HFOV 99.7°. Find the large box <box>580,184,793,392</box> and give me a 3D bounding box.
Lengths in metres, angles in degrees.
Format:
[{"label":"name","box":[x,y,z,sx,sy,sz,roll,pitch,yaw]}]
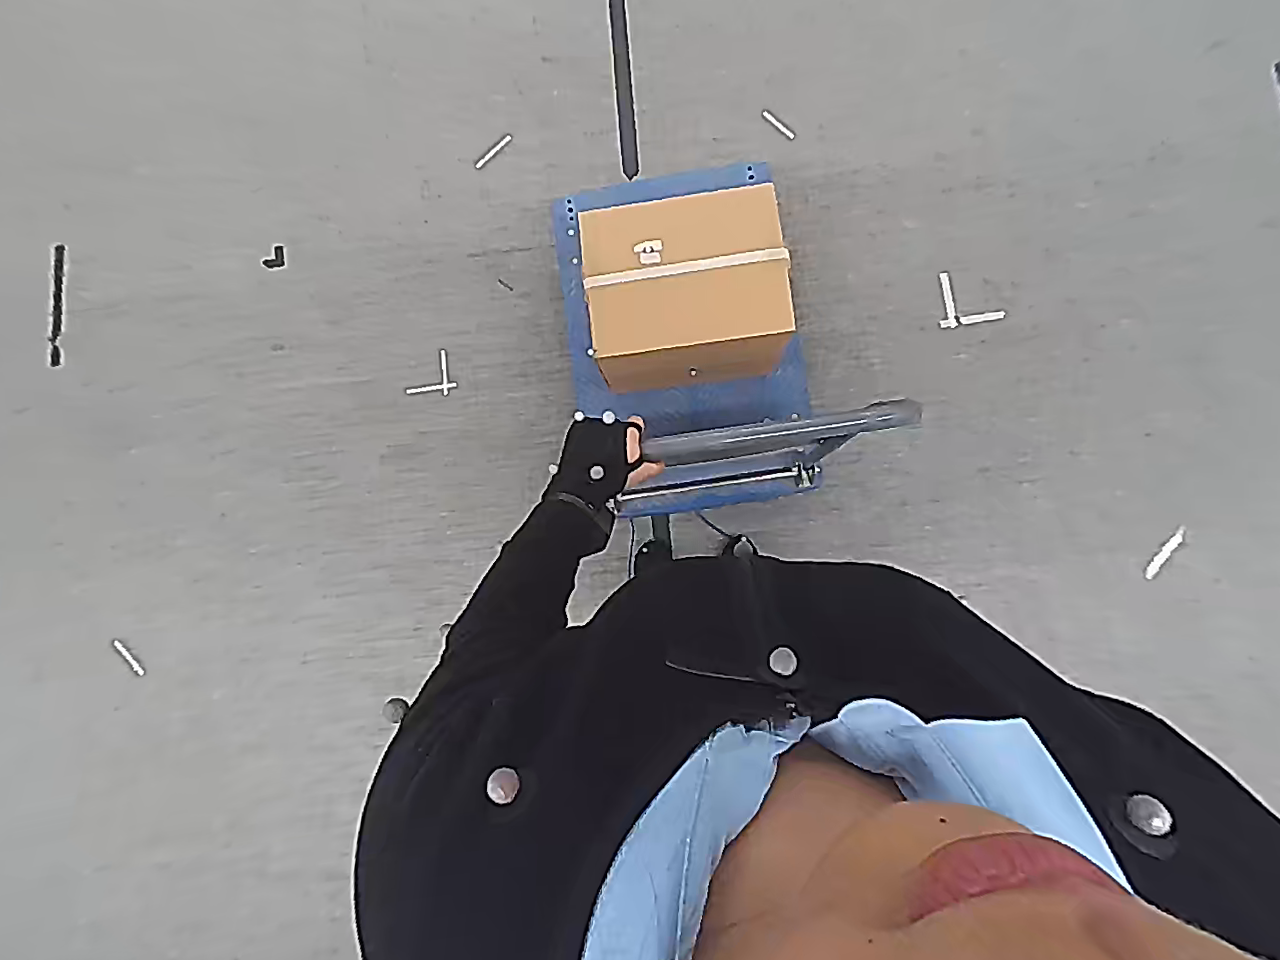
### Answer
[{"label":"large box","box":[0.104,-0.412,1.246,0.408,0.320,0.320,-8,83,5]}]
